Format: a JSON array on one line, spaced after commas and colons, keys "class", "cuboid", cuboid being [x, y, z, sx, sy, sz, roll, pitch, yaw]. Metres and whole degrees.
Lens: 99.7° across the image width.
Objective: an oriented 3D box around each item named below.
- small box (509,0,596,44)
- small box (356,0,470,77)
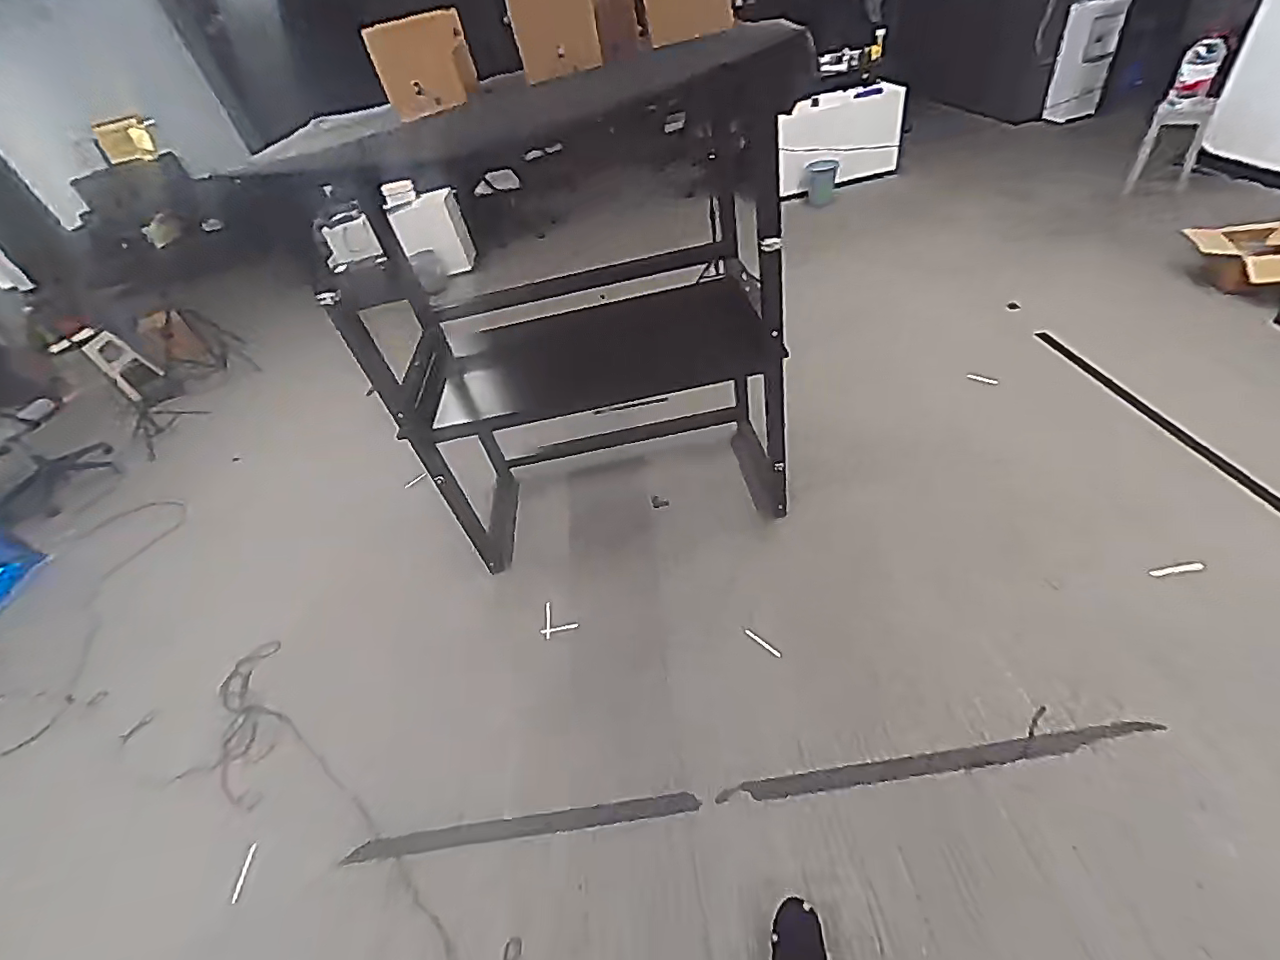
[{"class": "small box", "cuboid": [-0.196, -1.036, 1.131, 0.168, 0.176, 0.179, -15, 43, -1]}, {"class": "small box", "cuboid": [-0.477, -0.975, 1.142, 0.168, 0.176, 0.179, -9, 43, 5]}]
